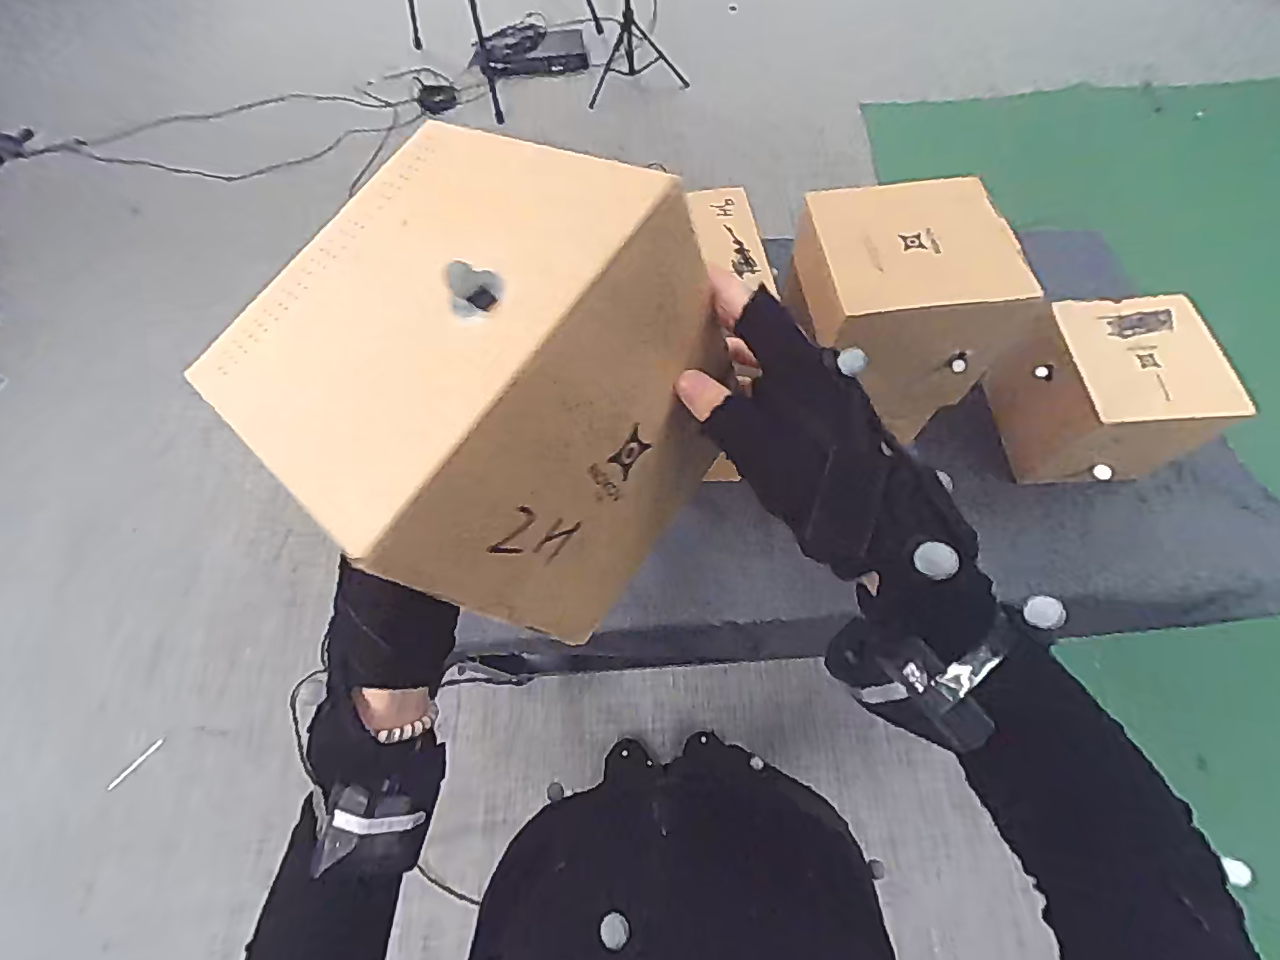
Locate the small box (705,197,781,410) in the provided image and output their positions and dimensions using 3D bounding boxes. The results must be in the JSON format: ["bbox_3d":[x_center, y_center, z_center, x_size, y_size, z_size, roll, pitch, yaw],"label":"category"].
[{"bbox_3d":[0.039,-0.170,0.592,0.179,0.176,0.168,-8,65,0],"label":"small box"}]

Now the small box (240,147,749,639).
[{"bbox_3d":[-0.065,-0.045,0.297,0.176,0.168,0.179,32,78,29],"label":"small box"}]
